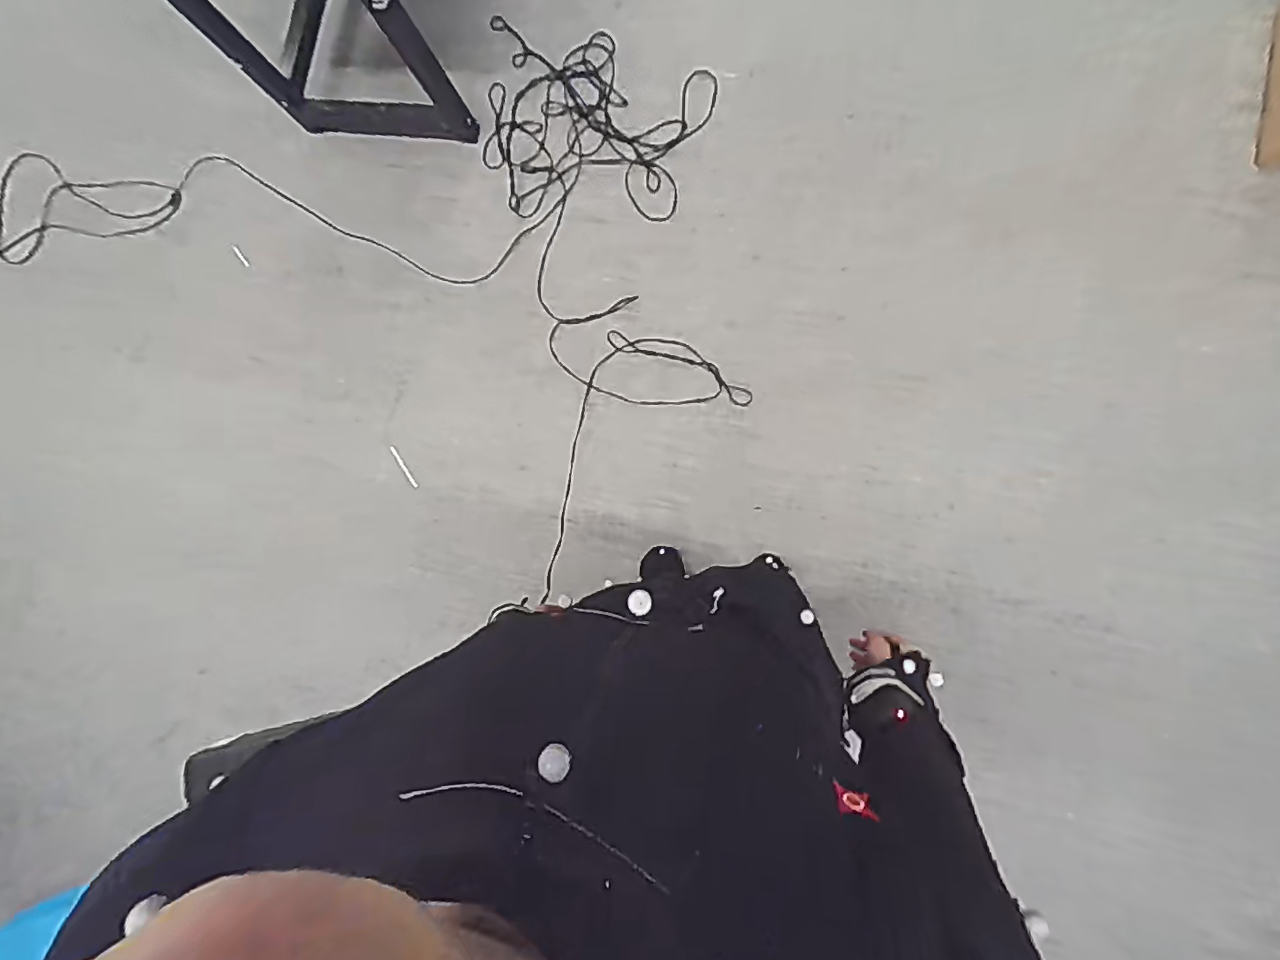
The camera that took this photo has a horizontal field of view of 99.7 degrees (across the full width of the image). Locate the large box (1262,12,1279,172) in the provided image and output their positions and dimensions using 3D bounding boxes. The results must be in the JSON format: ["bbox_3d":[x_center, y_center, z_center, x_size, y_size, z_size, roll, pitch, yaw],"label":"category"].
[{"bbox_3d":[1.561,-0.884,1.063,0.320,0.320,0.408,10,88,11],"label":"large box"}]
